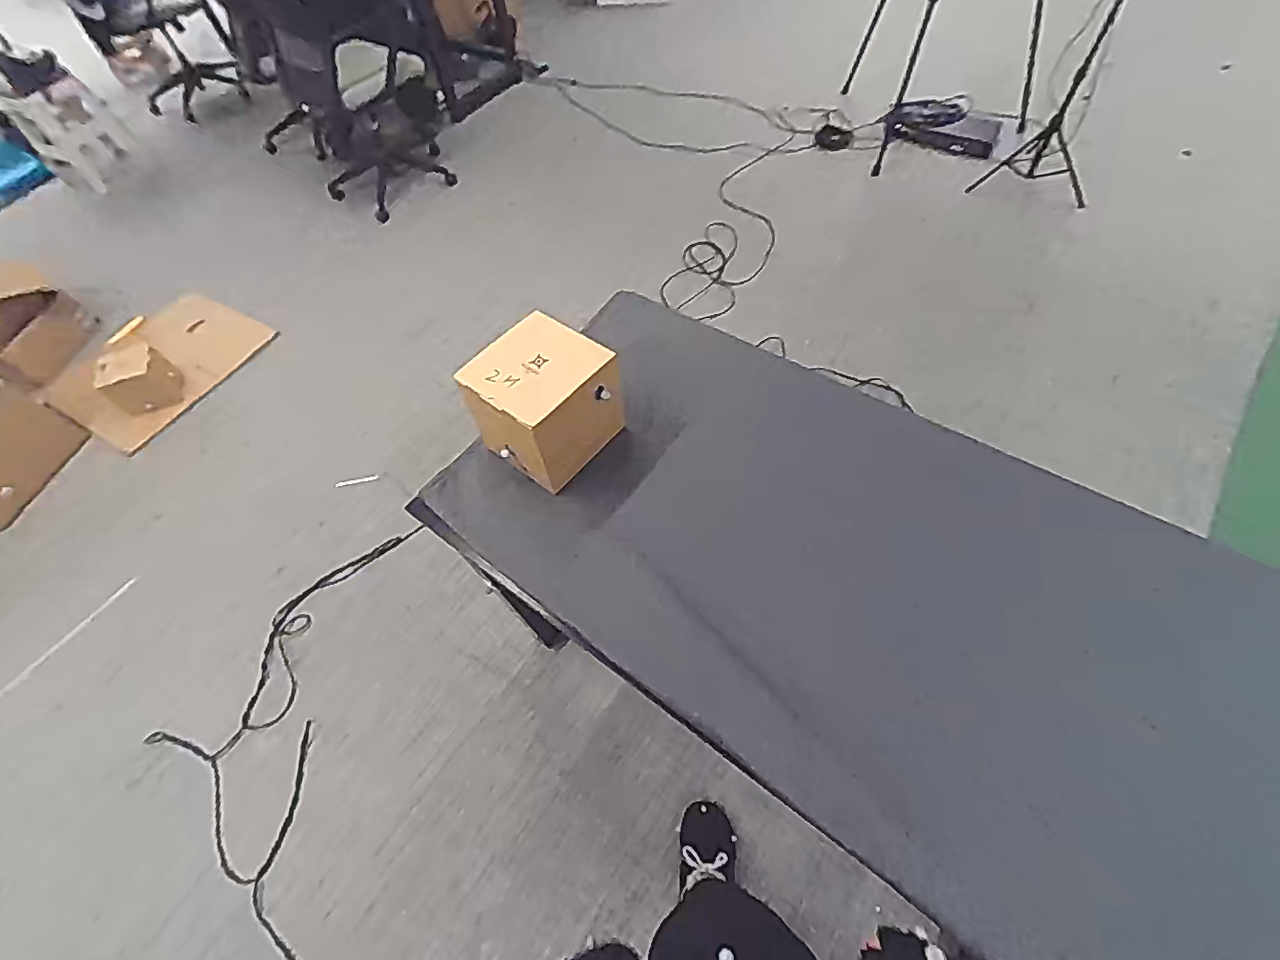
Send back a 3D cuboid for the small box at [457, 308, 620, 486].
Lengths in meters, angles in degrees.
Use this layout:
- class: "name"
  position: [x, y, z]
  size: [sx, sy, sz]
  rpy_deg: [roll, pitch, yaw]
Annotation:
- class: "small box"
  position: [-0.145, -0.126, 0.840]
  size: [0.168, 0.176, 0.179]
  rpy_deg: [33, 65, 22]
